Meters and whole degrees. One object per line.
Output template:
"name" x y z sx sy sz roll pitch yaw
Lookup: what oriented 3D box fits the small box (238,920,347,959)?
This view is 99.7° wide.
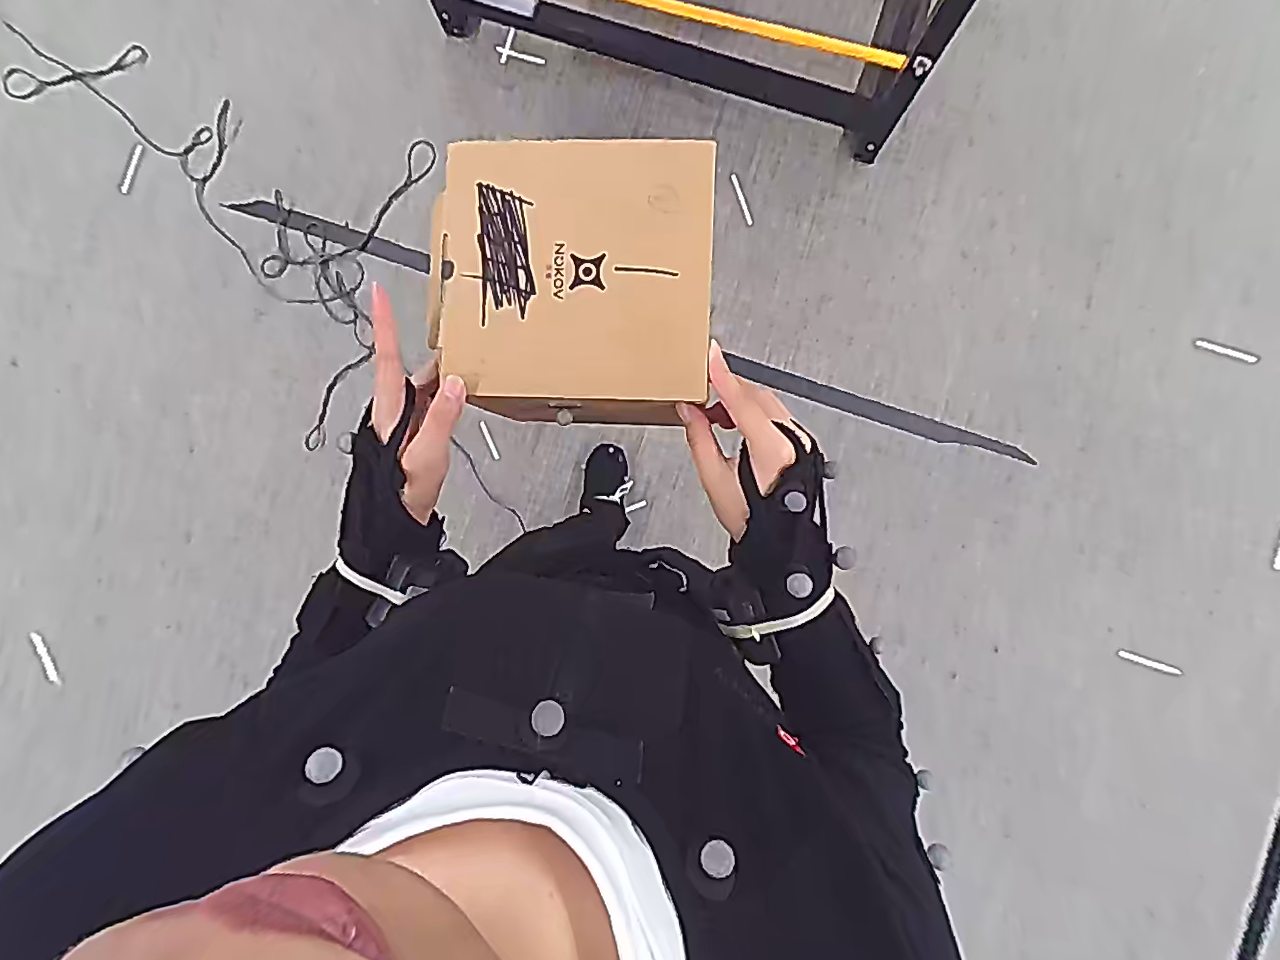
"small box" -0.717 1.013 1.047 0.179 0.176 0.168 25 89 1

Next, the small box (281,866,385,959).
"small box" -0.703 1.021 1.209 0.168 0.176 0.179 22 89 2

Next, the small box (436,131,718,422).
"small box" -0.036 -0.136 0.420 0.179 0.176 0.168 2 90 3
